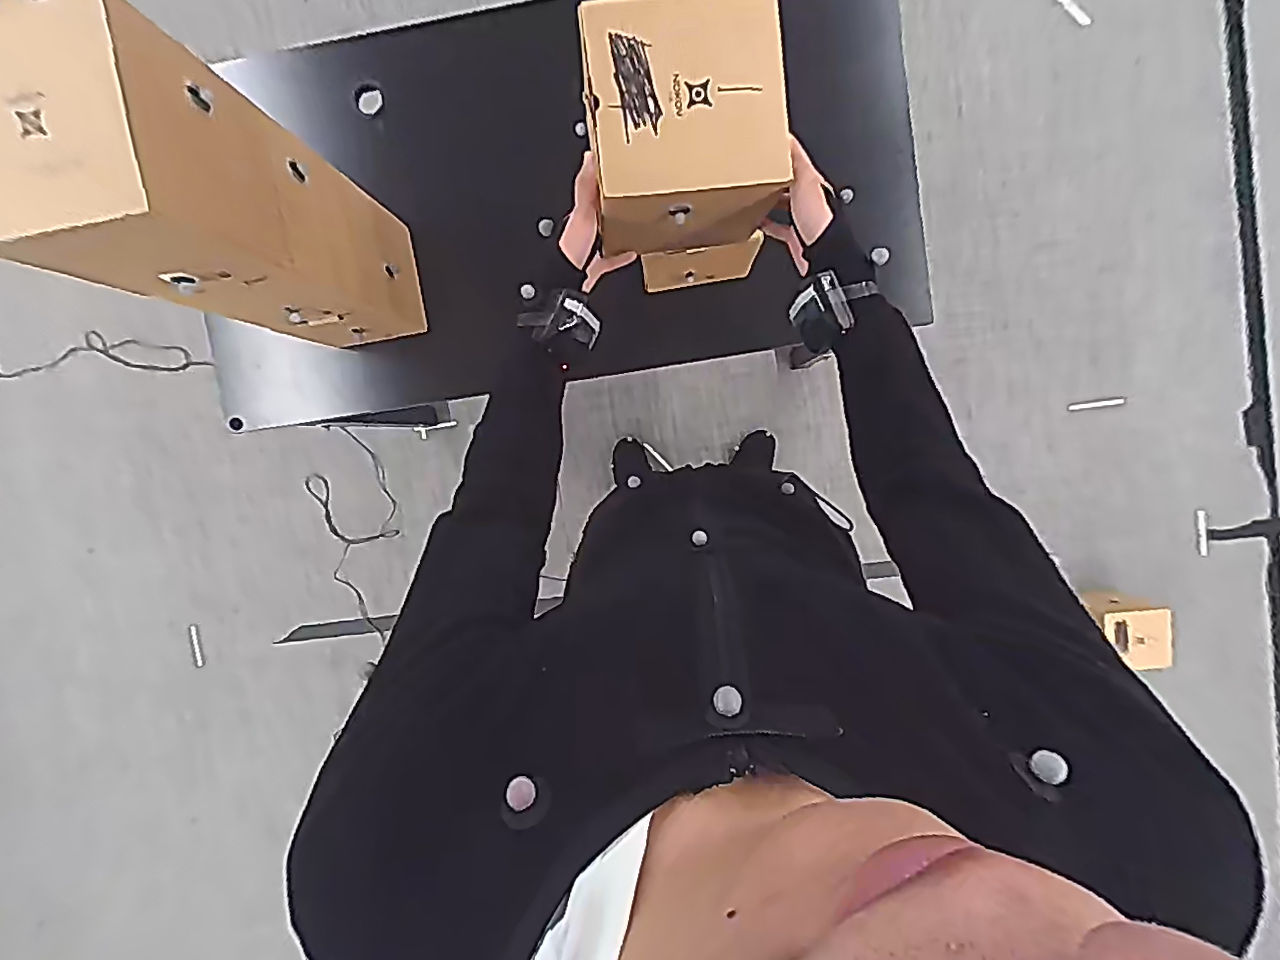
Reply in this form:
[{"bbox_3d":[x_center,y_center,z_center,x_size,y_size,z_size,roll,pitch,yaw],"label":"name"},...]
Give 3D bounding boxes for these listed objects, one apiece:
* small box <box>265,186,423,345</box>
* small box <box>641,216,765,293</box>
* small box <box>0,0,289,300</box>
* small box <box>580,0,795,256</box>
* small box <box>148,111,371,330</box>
[{"bbox_3d":[-0.453,-0.309,0.822,0.168,0.176,0.179,-10,94,3],"label":"small box"},{"bbox_3d":[0.076,-0.394,0.792,0.168,0.176,0.179,-9,94,3],"label":"small box"},{"bbox_3d":[-0.467,-0.285,0.496,0.168,0.176,0.179,-10,94,5],"label":"small box"},{"bbox_3d":[0.039,-0.340,0.547,0.179,0.176,0.168,-7,96,-3],"label":"small box"},{"bbox_3d":[-0.461,-0.298,0.658,0.168,0.176,0.179,-9,94,4],"label":"small box"}]
